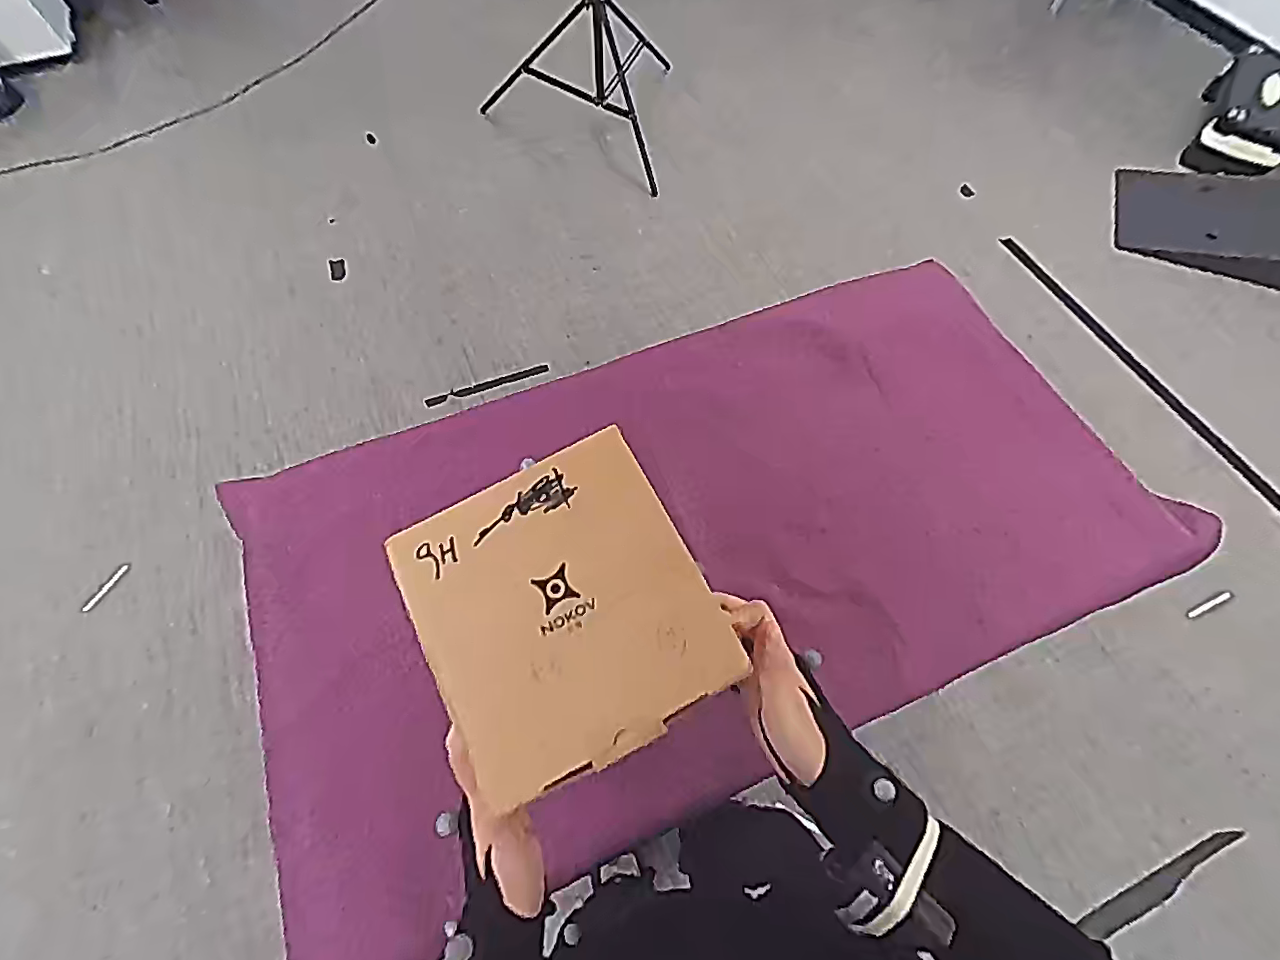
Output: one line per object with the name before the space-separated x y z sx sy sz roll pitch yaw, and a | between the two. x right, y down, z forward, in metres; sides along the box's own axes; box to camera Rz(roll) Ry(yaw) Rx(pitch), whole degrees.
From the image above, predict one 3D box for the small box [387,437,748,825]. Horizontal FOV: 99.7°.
small box | -0.044 0.100 0.398 0.168 0.176 0.179 -27 76 -7
